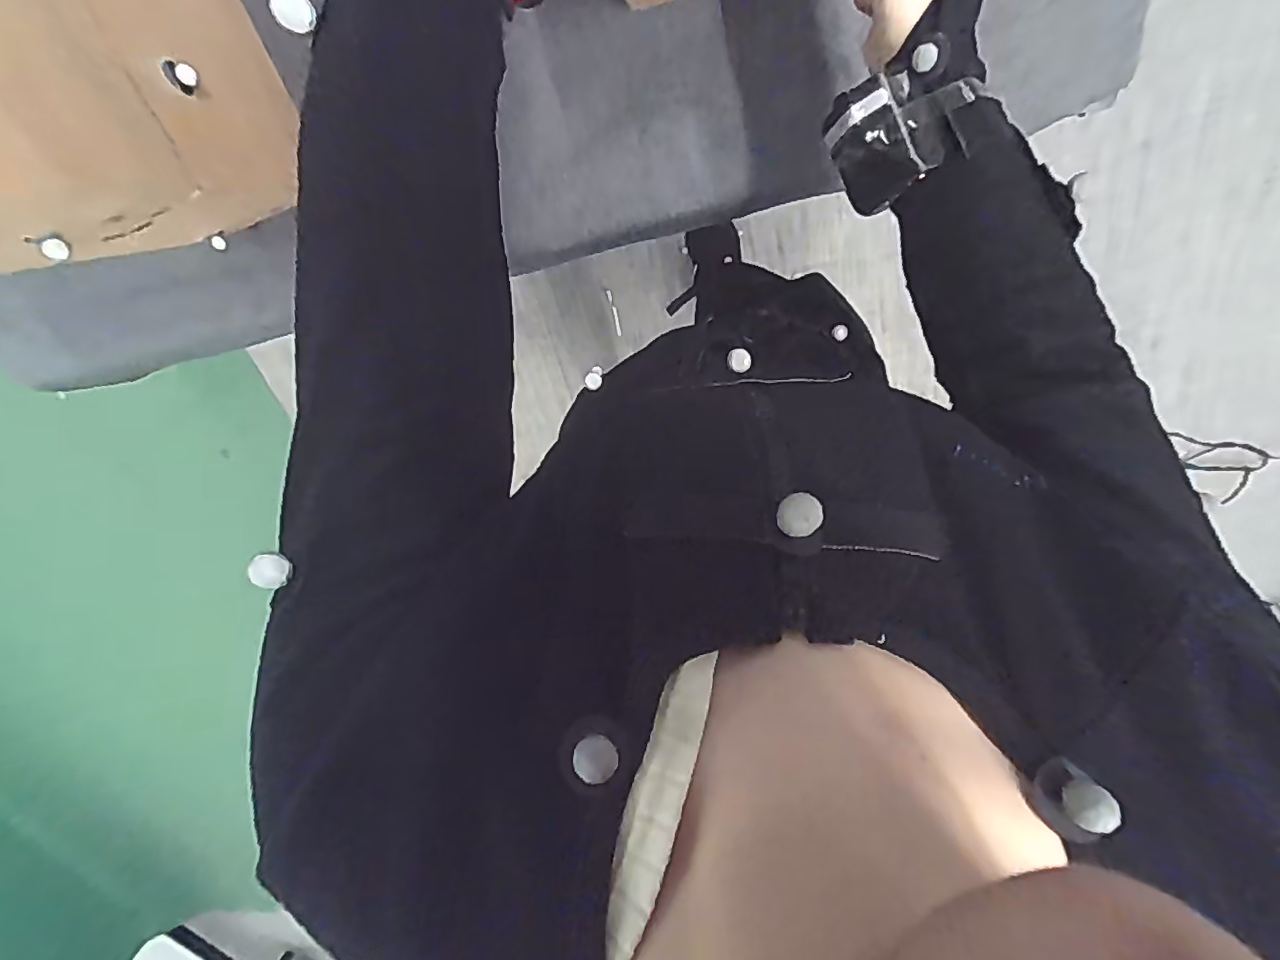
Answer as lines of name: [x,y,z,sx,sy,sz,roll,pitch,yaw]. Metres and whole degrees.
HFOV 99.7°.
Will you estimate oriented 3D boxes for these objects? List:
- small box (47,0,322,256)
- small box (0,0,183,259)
small box: [-0.409,-0.305,0.439,0.168,0.176,0.179,-13,116,14]
small box: [-0.427,-0.225,0.296,0.168,0.176,0.179,-15,117,15]
